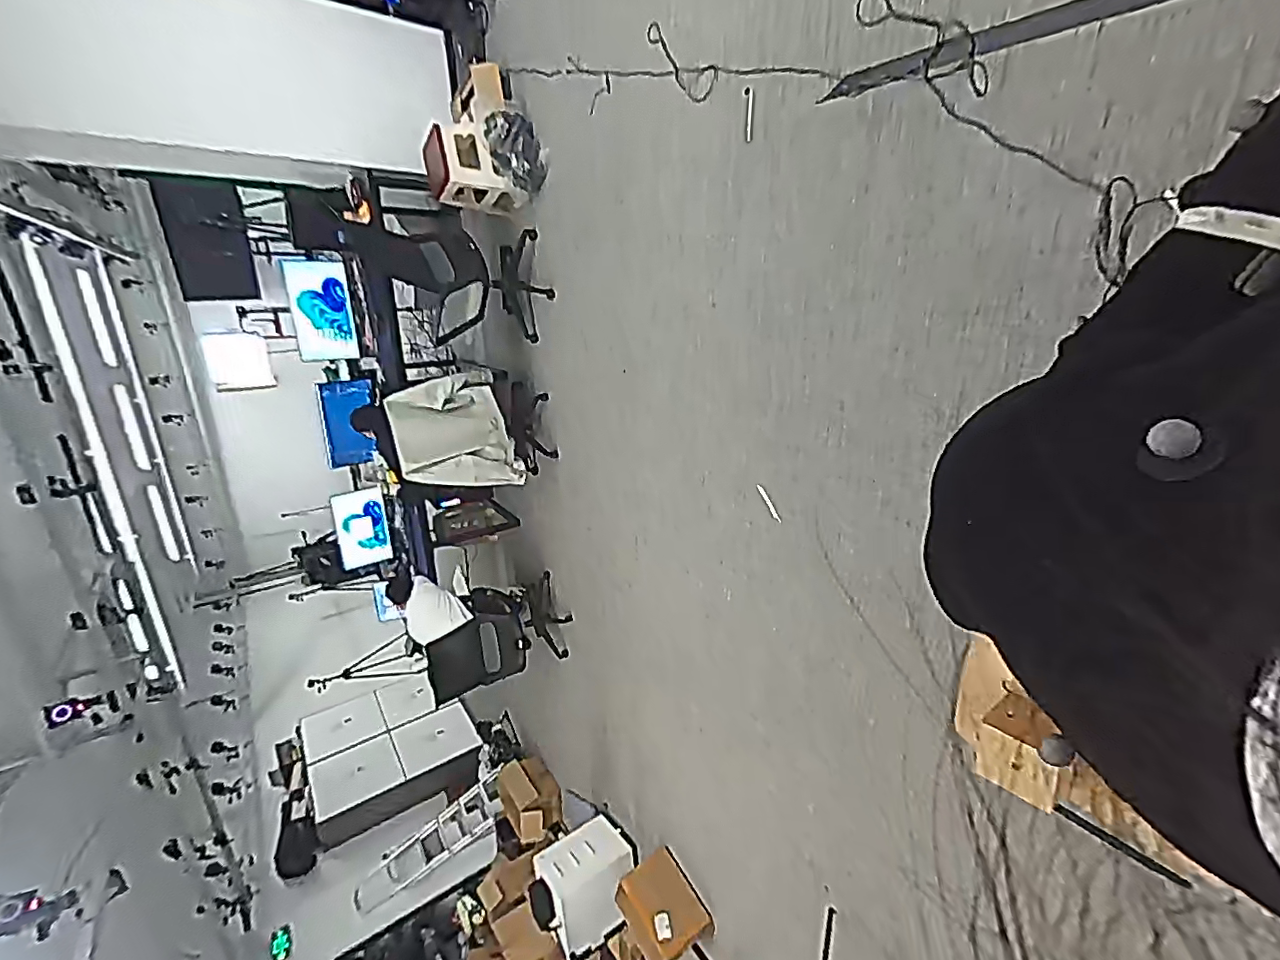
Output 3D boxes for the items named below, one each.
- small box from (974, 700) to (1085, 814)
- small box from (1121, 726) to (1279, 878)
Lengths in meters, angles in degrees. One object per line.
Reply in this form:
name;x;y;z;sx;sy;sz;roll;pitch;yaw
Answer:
small box;0.994;0.694;1.384;0.179;0.176;0.168;16;116;53
small box;1.161;0.652;1.119;0.179;0.176;0.168;33;127;44
